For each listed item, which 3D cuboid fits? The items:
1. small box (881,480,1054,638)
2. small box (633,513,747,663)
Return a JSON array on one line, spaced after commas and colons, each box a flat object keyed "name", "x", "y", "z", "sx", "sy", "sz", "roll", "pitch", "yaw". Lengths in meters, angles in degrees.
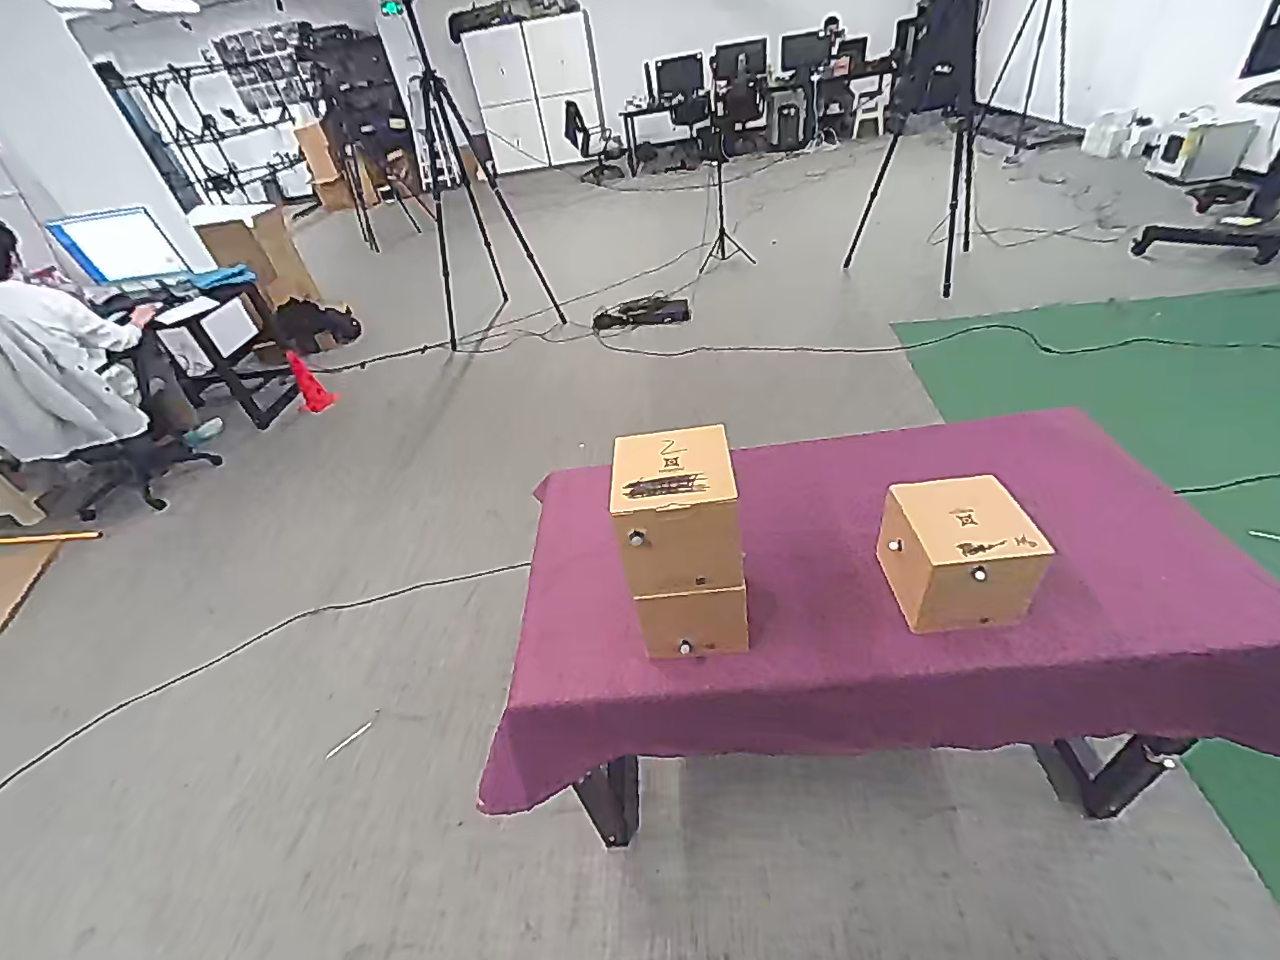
[{"name": "small box", "x": 0.500, "y": 0.124, "z": 0.861, "sx": 0.168, "sy": 0.176, "sz": 0.179, "roll": -8, "pitch": 38, "yaw": 6}, {"name": "small box", "x": 0.084, "y": 0.179, "z": 0.896, "sx": 0.168, "sy": 0.176, "sz": 0.179, "roll": -6, "pitch": 40, "yaw": 7}]
